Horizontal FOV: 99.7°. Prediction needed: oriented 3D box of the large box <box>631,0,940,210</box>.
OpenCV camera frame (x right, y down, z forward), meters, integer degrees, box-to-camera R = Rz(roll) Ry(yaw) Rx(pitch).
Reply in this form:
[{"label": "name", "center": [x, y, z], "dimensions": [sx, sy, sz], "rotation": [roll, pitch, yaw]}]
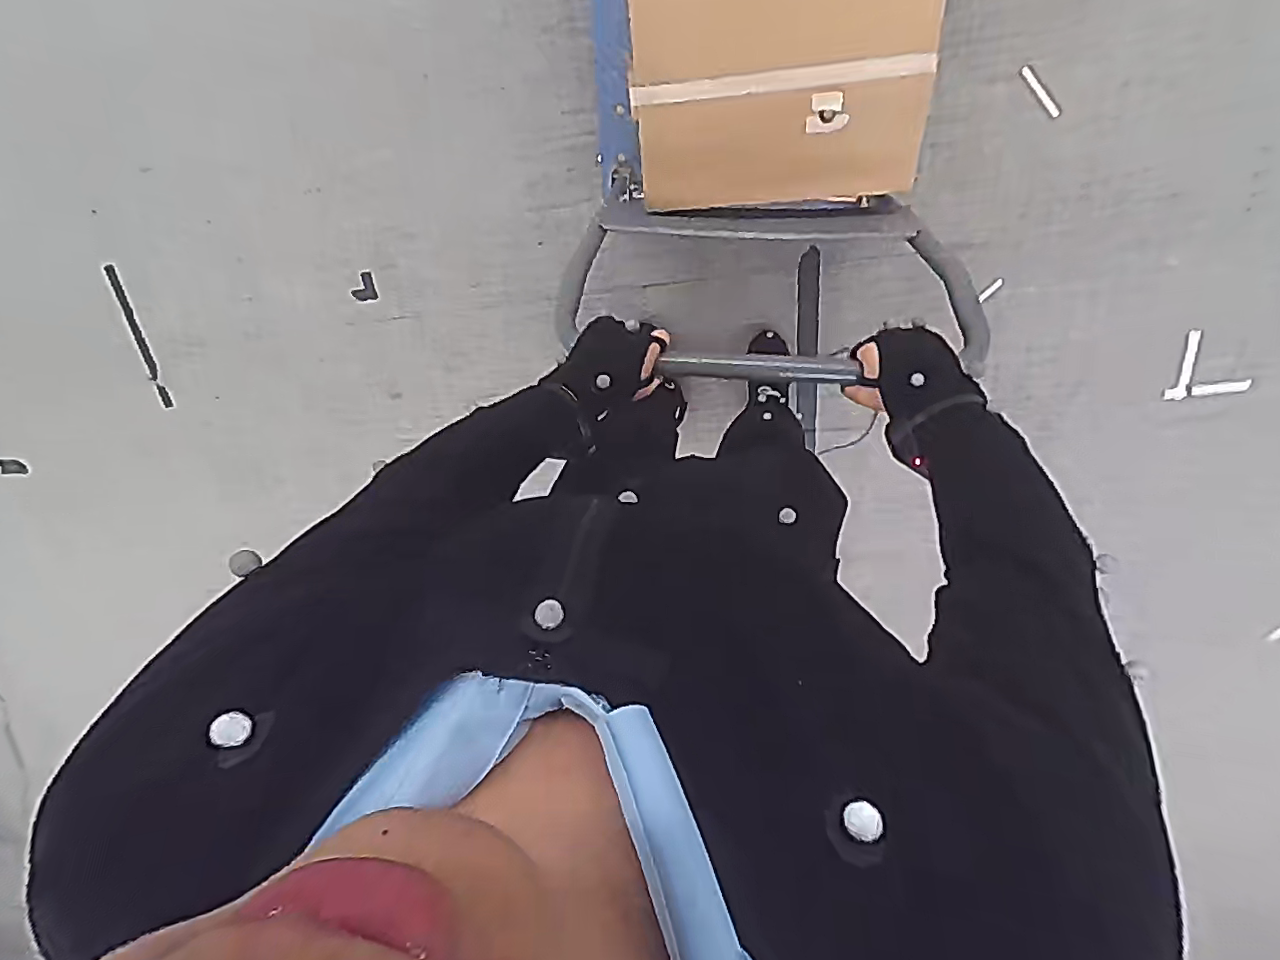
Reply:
[{"label": "large box", "center": [0.209, -0.655, 0.877], "dimensions": [0.408, 0.320, 0.320], "rotation": [-2, 127, 8]}]
